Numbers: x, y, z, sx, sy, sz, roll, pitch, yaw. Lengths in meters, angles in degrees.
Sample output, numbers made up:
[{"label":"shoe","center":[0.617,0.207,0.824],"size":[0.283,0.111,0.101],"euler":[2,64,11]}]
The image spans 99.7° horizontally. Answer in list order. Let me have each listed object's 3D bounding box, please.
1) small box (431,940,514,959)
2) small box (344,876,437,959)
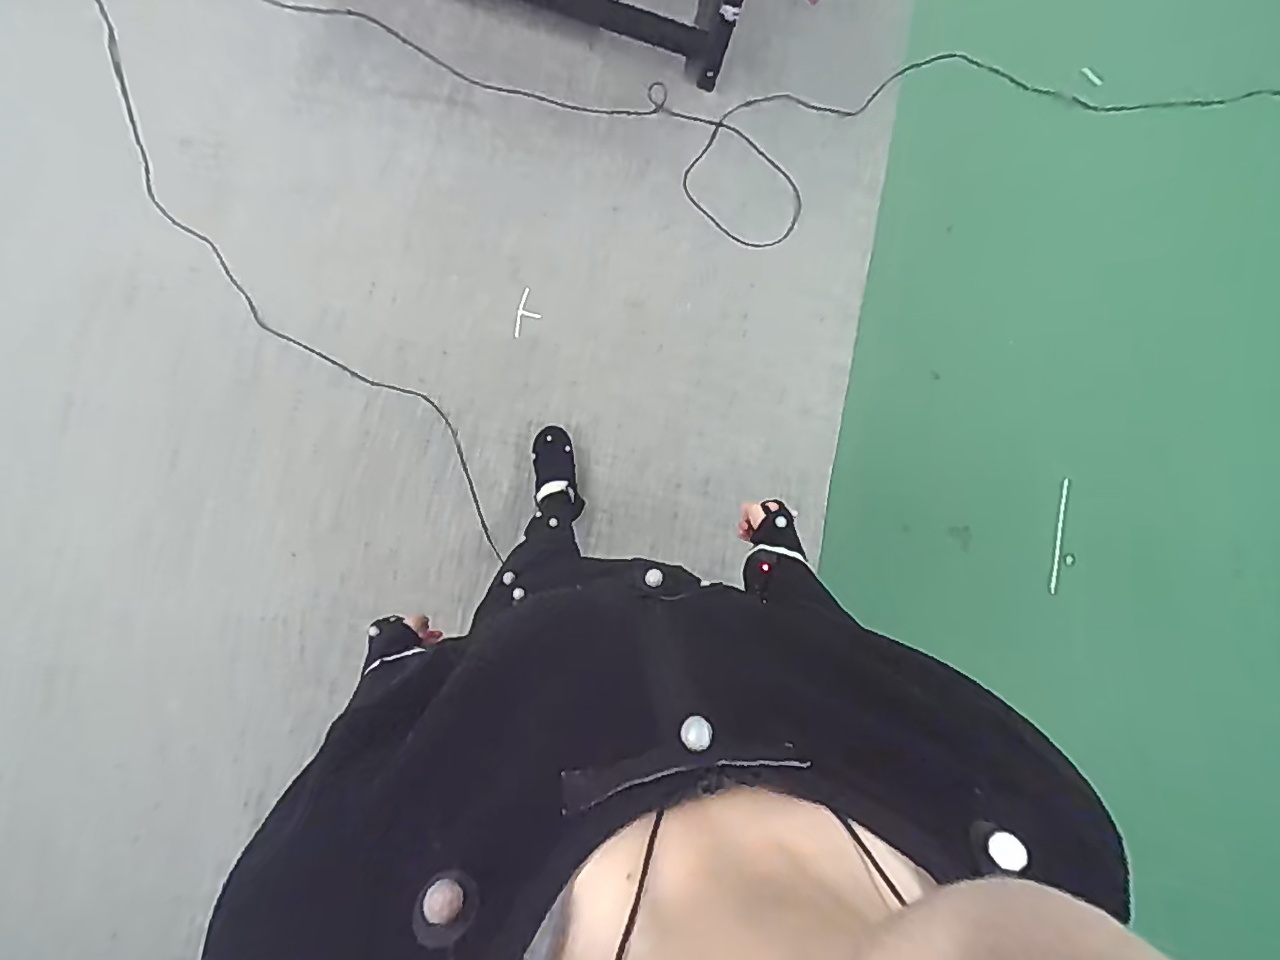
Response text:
[{"label":"small box","center":[-0.364,1.085,1.099],"size":[0.179,0.176,0.168],"euler":[11,83,-6]},{"label":"small box","center":[-0.580,1.062,1.238],"size":[0.168,0.176,0.179],"euler":[15,83,-8]}]
